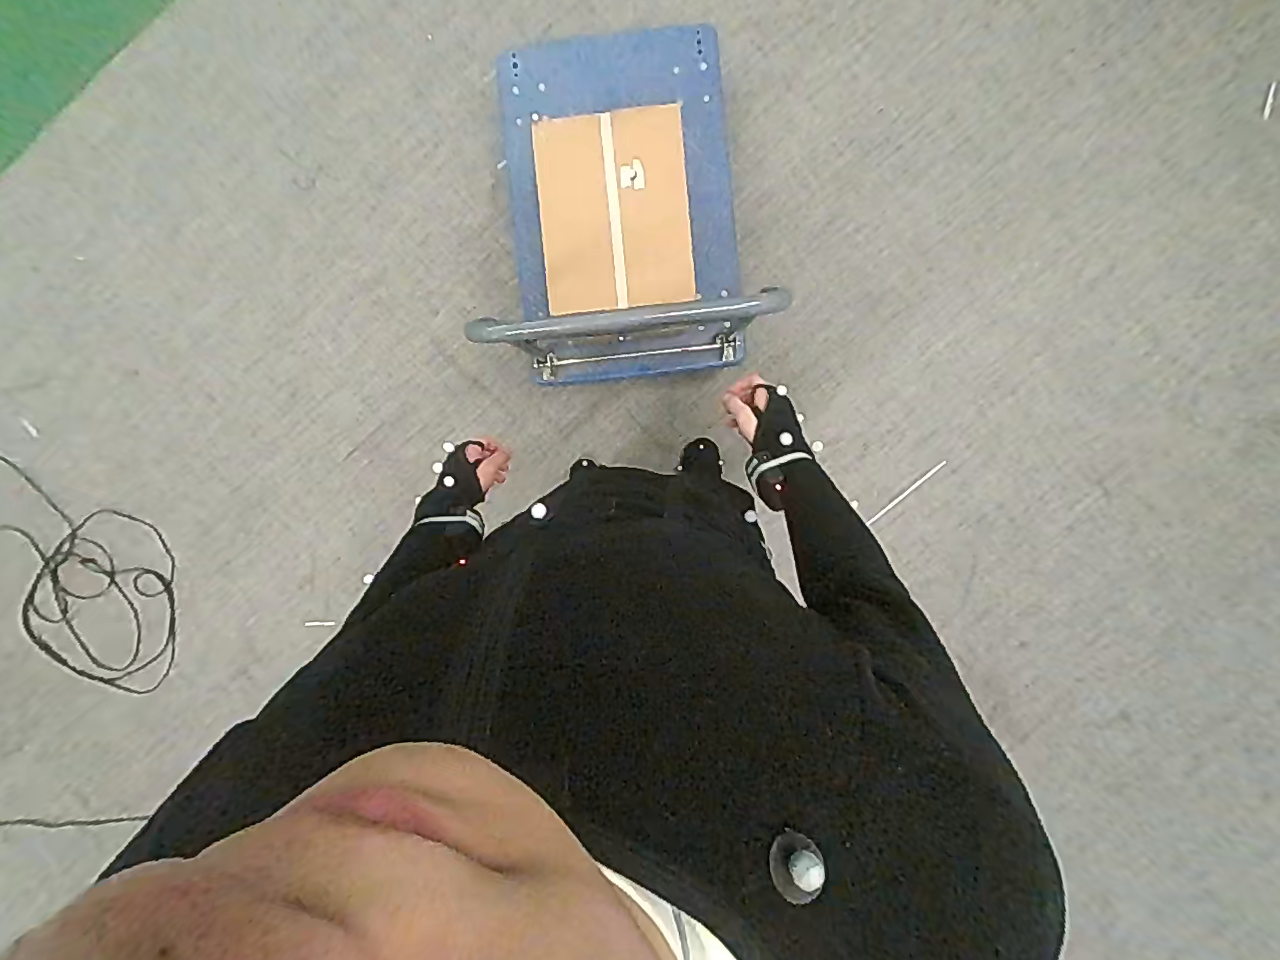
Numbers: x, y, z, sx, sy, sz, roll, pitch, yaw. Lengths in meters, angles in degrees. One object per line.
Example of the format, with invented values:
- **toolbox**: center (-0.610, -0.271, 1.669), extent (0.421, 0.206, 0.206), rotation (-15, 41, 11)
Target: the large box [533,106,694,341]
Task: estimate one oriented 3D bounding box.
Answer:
- **large box**: center (-0.048, -0.576, 1.291), extent (0.320, 0.320, 0.408), rotation (-5, 93, 2)
